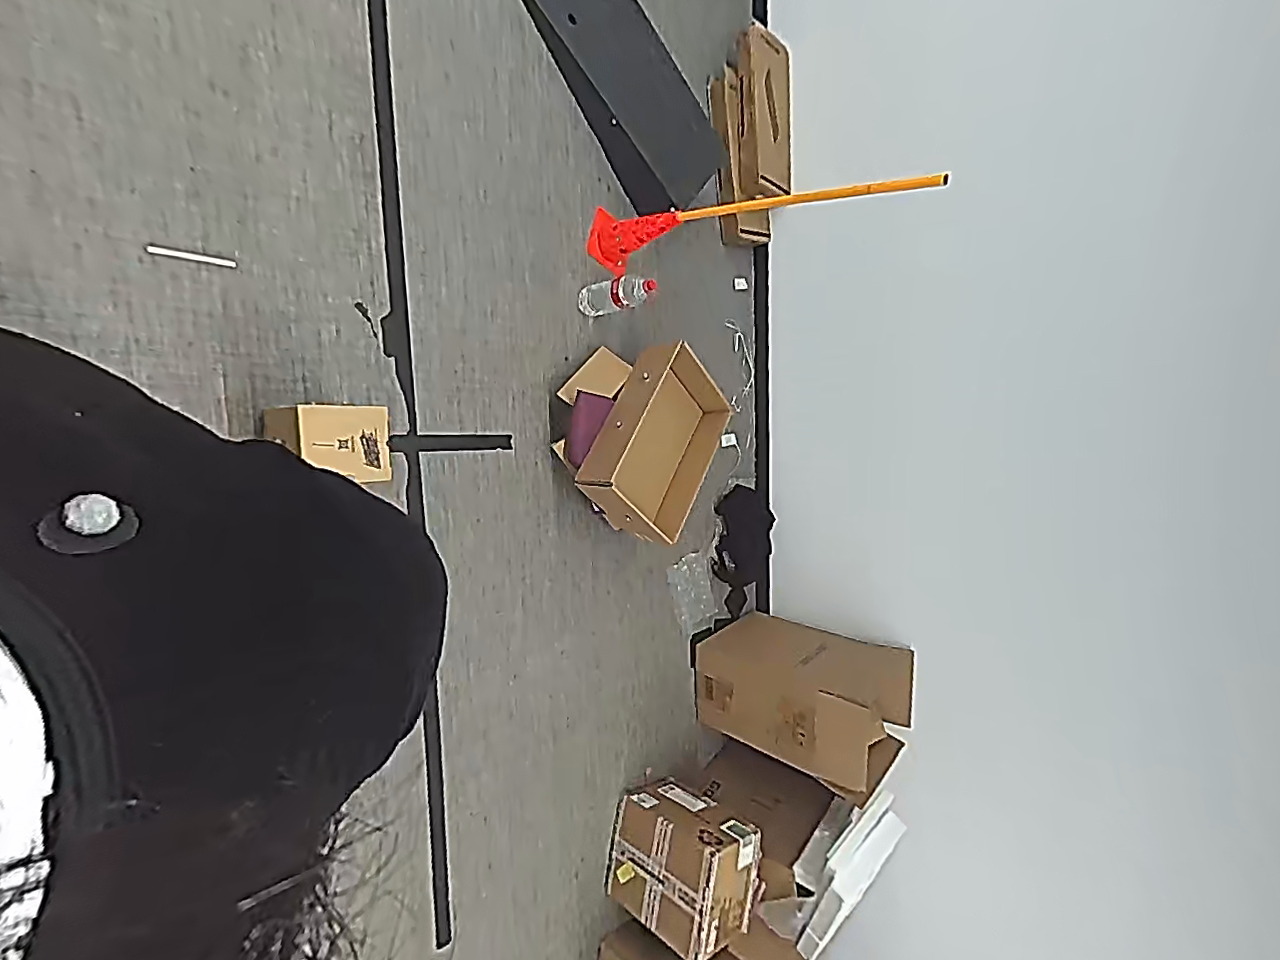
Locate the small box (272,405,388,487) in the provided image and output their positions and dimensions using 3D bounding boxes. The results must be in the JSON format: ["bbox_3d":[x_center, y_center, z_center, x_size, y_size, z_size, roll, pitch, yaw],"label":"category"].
[{"bbox_3d":[-0.678,-0.077,1.183,0.179,0.176,0.168,-6,97,-46],"label":"small box"}]

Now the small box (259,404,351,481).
[{"bbox_3d":[-0.795,-0.087,1.299,0.168,0.176,0.179,-6,97,-47],"label":"small box"}]
